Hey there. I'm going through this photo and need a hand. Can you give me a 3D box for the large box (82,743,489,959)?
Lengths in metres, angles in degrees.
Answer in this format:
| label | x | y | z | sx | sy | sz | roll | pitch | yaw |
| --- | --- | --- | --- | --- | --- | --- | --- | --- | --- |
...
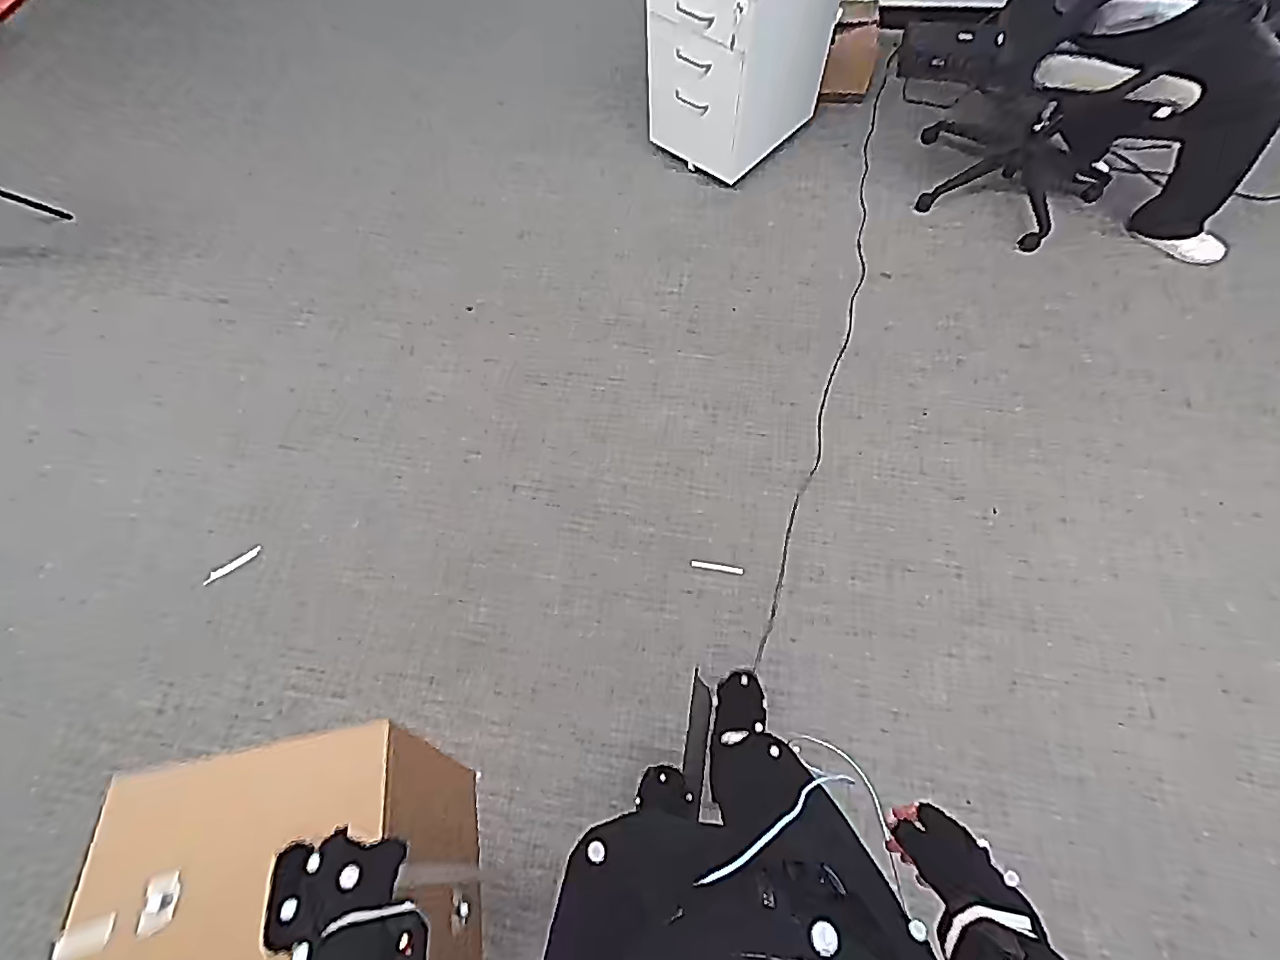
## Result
| label | x | y | z | sx | sy | sz | roll | pitch | yaw |
| --- | --- | --- | --- | --- | --- | --- | --- | --- | --- |
| large box | -0.407 | 0.580 | 0.705 | 0.320 | 0.408 | 0.320 | -11 | 54 | -7 |
